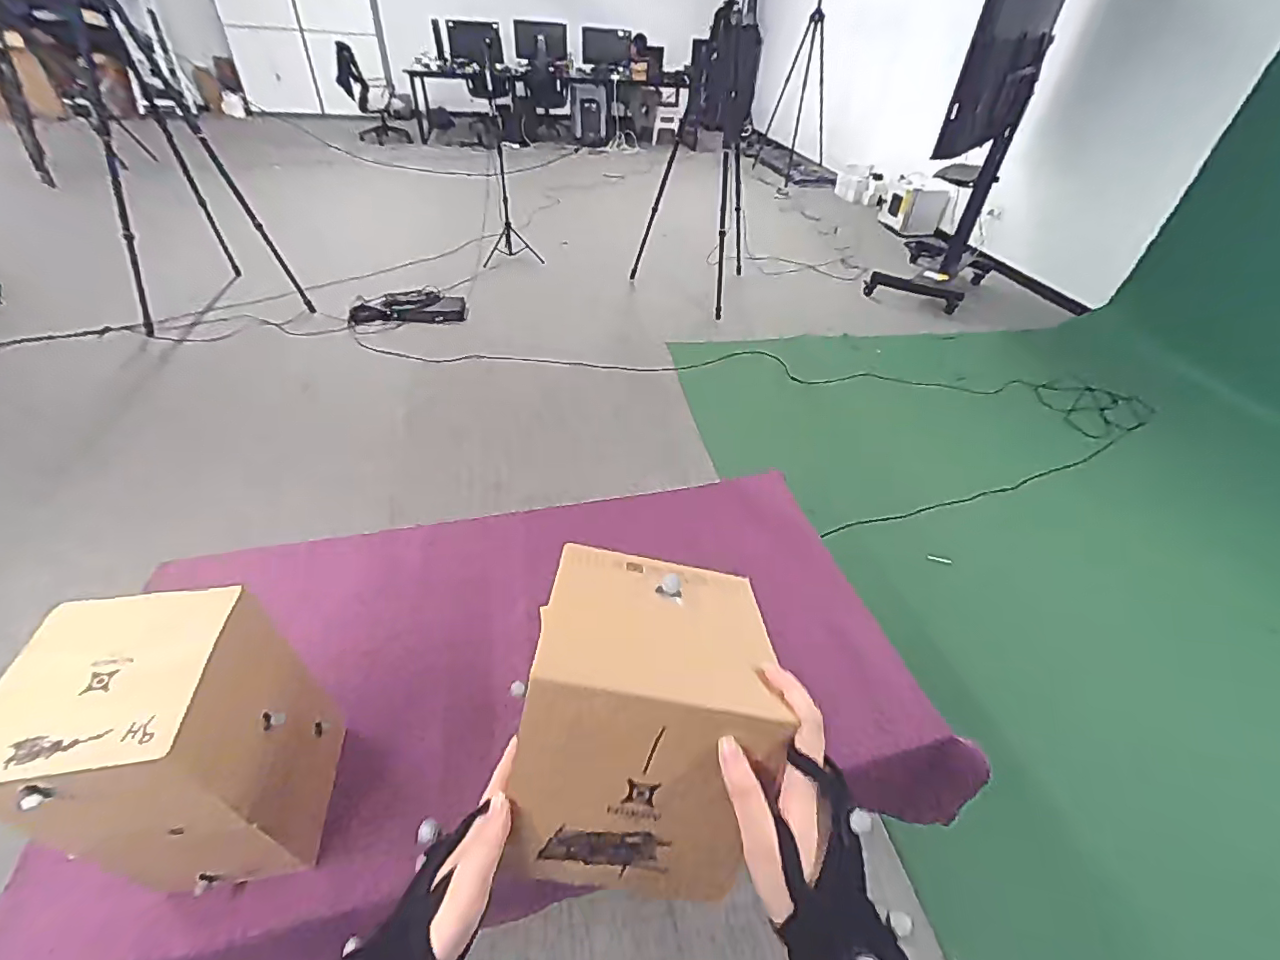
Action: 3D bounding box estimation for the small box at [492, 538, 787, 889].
[{"bbox_3d":[-0.006,0.171,0.430,0.168,0.179,0.176,12,19,-5],"label":"small box"}]

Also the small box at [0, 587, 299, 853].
[{"bbox_3d":[-0.472,0.233,0.538,0.168,0.176,0.179,-6,41,-8],"label":"small box"}]

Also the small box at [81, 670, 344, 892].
[{"bbox_3d":[-0.479,0.357,0.648,0.168,0.176,0.179,-5,43,-8],"label":"small box"}]
